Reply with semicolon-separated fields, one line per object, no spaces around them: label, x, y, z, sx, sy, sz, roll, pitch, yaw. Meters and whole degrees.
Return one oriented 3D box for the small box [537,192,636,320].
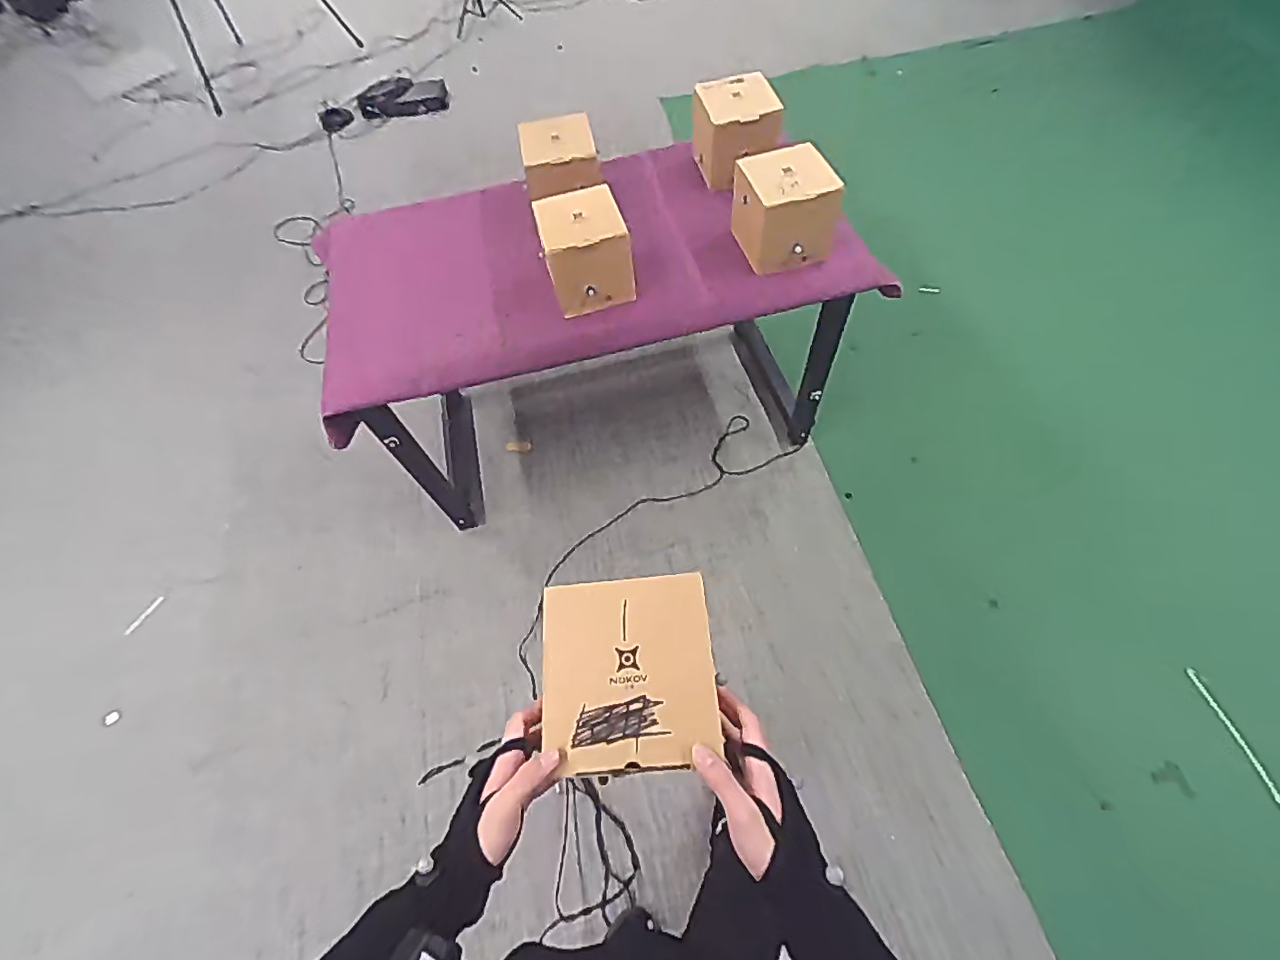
small box;-0.111;-0.474;1.155;0.168;0.176;0.179;-16;60;-4

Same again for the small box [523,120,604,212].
small box;-0.177;-0.723;1.304;0.168;0.176;0.179;-11;60;-2

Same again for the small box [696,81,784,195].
small box;0.237;-0.826;1.323;0.168;0.176;0.179;-12;63;-2

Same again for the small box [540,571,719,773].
small box;-0.005;0.211;0.586;0.168;0.176;0.179;-6;62;3

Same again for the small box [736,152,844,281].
small box;0.311;-0.563;1.164;0.168;0.176;0.179;-14;59;-1
